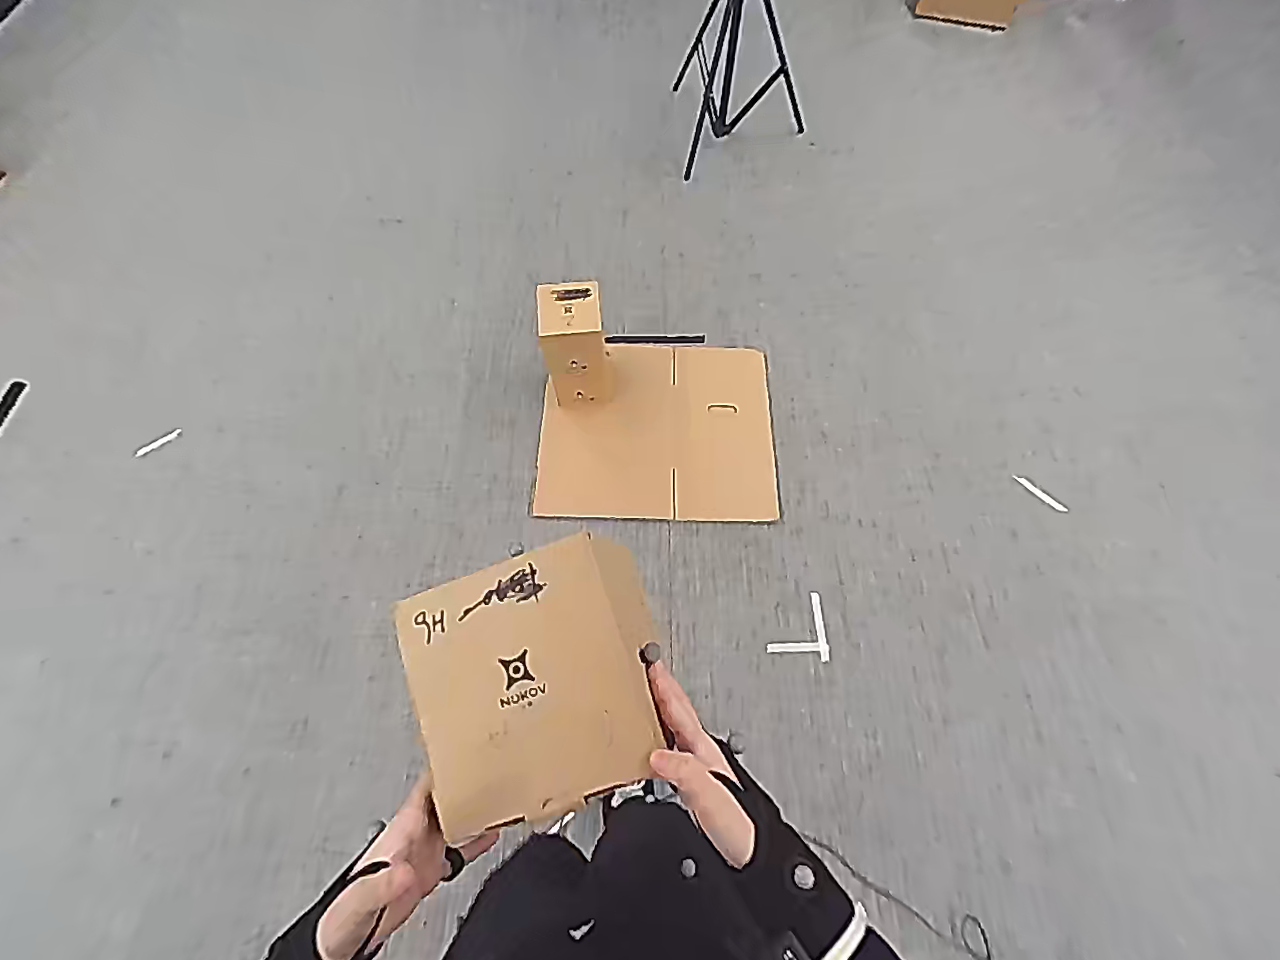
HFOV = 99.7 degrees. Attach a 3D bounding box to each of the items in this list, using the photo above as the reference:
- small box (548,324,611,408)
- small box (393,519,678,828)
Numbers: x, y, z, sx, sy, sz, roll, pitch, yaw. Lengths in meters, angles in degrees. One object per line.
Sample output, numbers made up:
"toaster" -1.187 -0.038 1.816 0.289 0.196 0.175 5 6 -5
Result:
"small box" -0.181 -0.343 1.636 0.168 0.176 0.179 -8 65 -3
"small box" -0.073 0.149 0.463 0.168 0.176 0.179 -21 76 3
